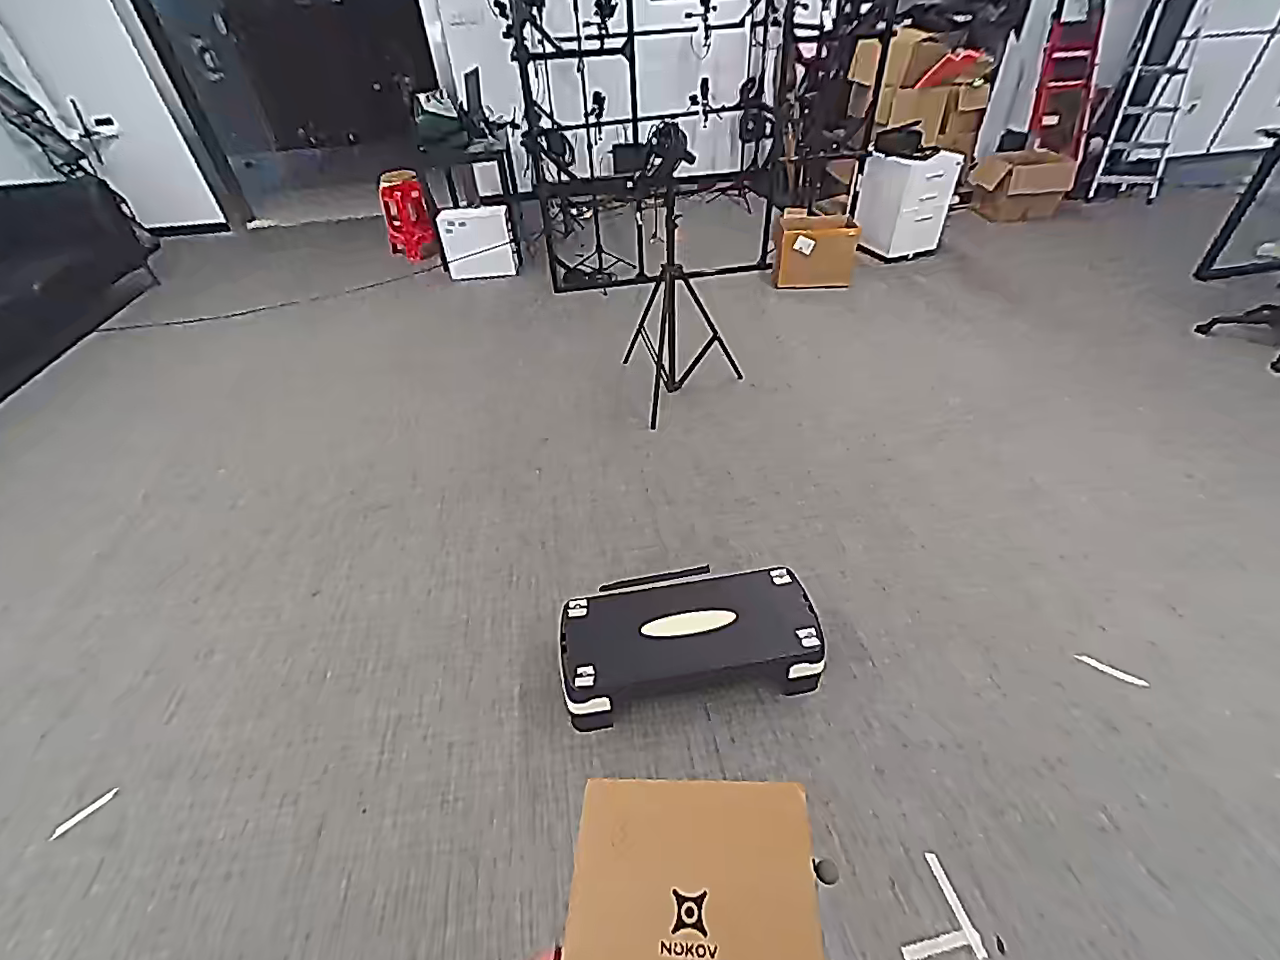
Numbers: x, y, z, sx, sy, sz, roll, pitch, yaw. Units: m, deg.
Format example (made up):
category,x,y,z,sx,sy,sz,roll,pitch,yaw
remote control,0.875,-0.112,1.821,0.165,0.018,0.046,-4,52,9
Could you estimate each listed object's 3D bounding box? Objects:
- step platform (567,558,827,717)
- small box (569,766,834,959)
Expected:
category,x,y,z,sx,sy,sz,roll,pitch,yaw
step platform,0.144,0.416,1.471,0.684,0.204,0.286,-9,41,-5
small box,0.055,0.335,0.402,0.168,0.176,0.179,-7,44,13
